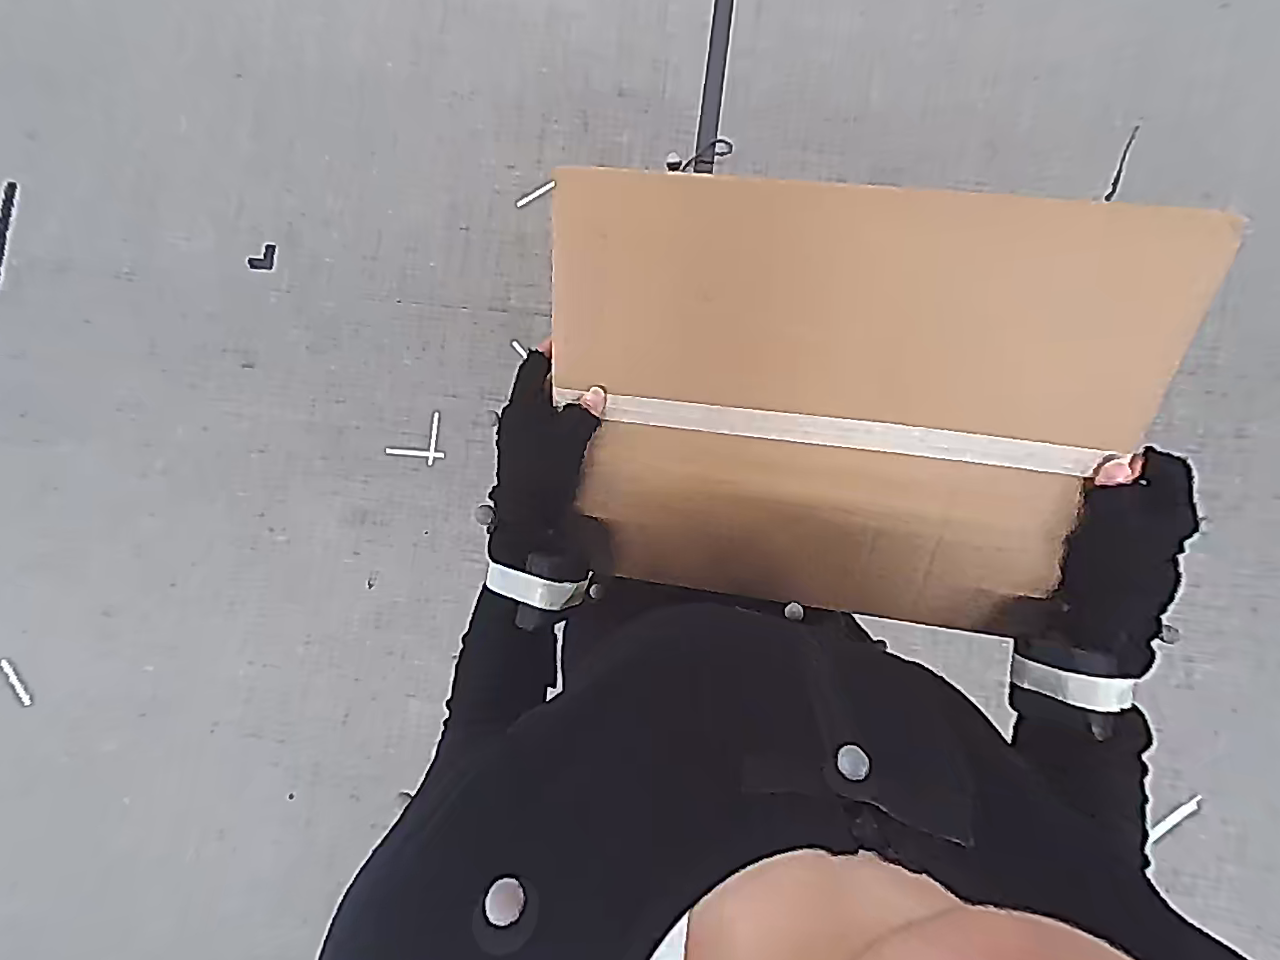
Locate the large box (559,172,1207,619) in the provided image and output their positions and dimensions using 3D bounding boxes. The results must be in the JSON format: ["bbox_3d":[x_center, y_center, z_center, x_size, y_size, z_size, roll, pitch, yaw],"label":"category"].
[{"bbox_3d":[0.154,-0.107,0.539,0.408,0.320,0.320,8,117,7],"label":"large box"}]
